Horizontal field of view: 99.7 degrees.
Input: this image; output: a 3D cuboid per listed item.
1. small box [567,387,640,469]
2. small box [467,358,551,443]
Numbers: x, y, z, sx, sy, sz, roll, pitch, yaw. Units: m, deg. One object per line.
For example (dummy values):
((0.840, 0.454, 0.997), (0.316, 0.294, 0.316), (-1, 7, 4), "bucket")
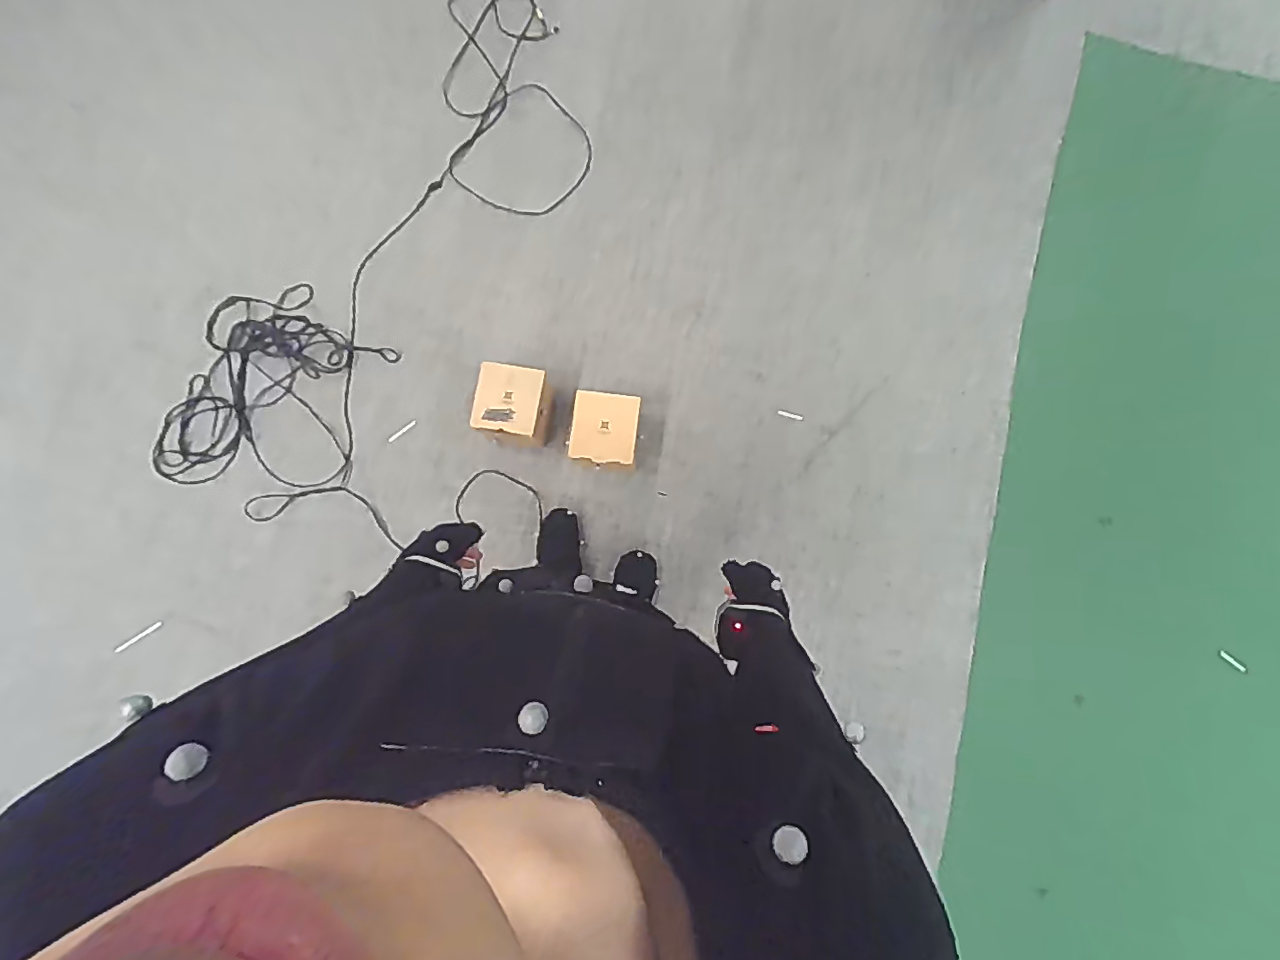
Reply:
((-0.093, -0.132, 1.433), (0.168, 0.176, 0.179), (7, 86, 0), "small box")
((-0.339, -0.203, 1.435), (0.168, 0.176, 0.179), (10, 84, 0), "small box")
